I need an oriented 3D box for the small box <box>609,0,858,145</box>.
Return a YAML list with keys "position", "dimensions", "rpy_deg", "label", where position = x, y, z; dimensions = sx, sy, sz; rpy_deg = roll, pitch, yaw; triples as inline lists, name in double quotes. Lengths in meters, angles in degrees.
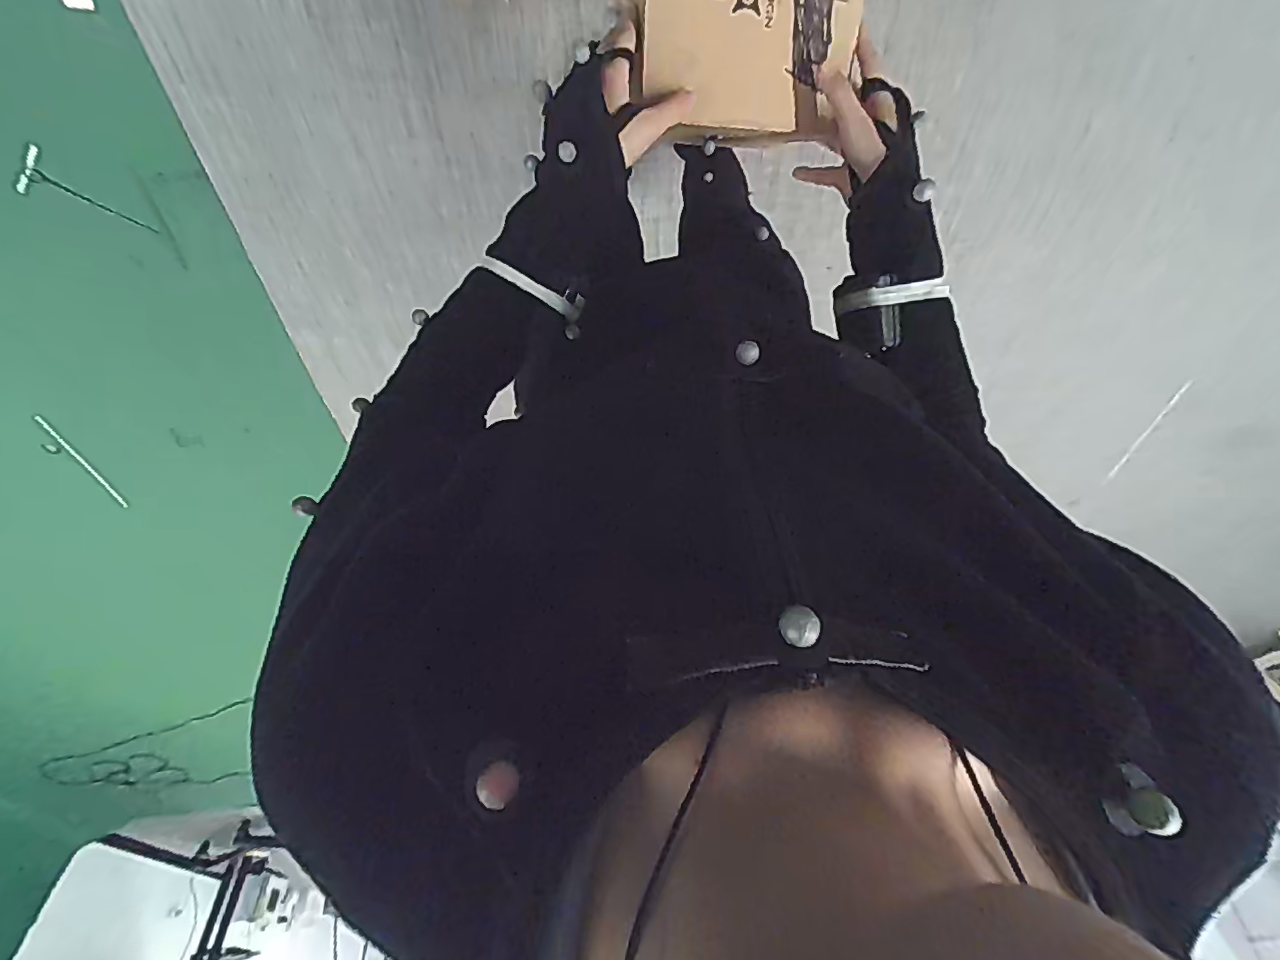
- position: [0.071, -0.399, 0.474]
  dimensions: [0.179, 0.176, 0.168]
  rpy_deg: [-2, 119, -8]
  label: "small box"
